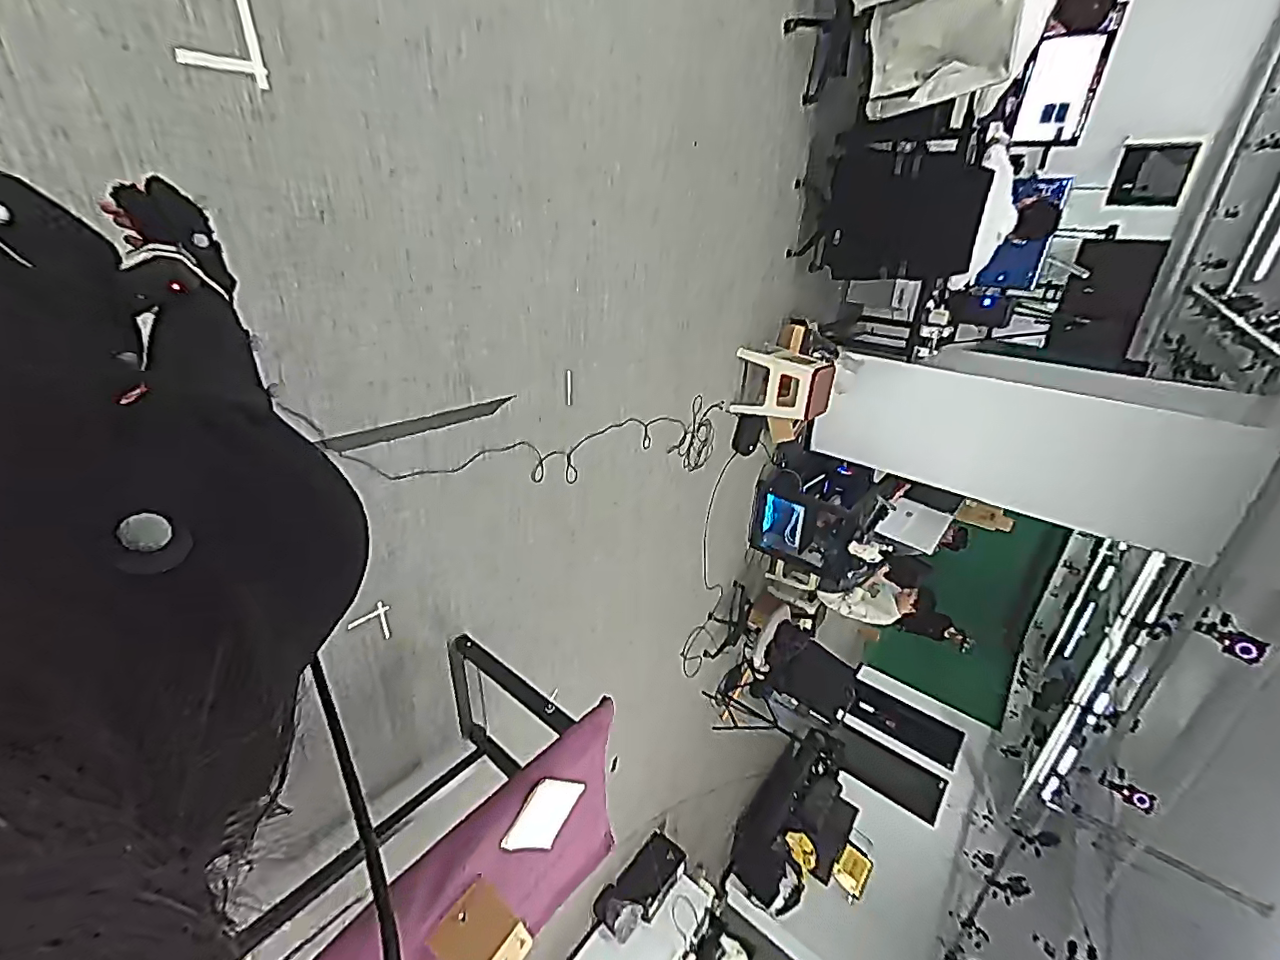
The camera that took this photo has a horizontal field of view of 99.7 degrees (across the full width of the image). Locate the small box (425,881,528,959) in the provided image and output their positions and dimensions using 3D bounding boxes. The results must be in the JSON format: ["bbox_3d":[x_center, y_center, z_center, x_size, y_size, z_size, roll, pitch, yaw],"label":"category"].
[{"bbox_3d":[-0.414,1.174,1.358,0.179,0.176,0.168,-37,136,-37],"label":"small box"}]
